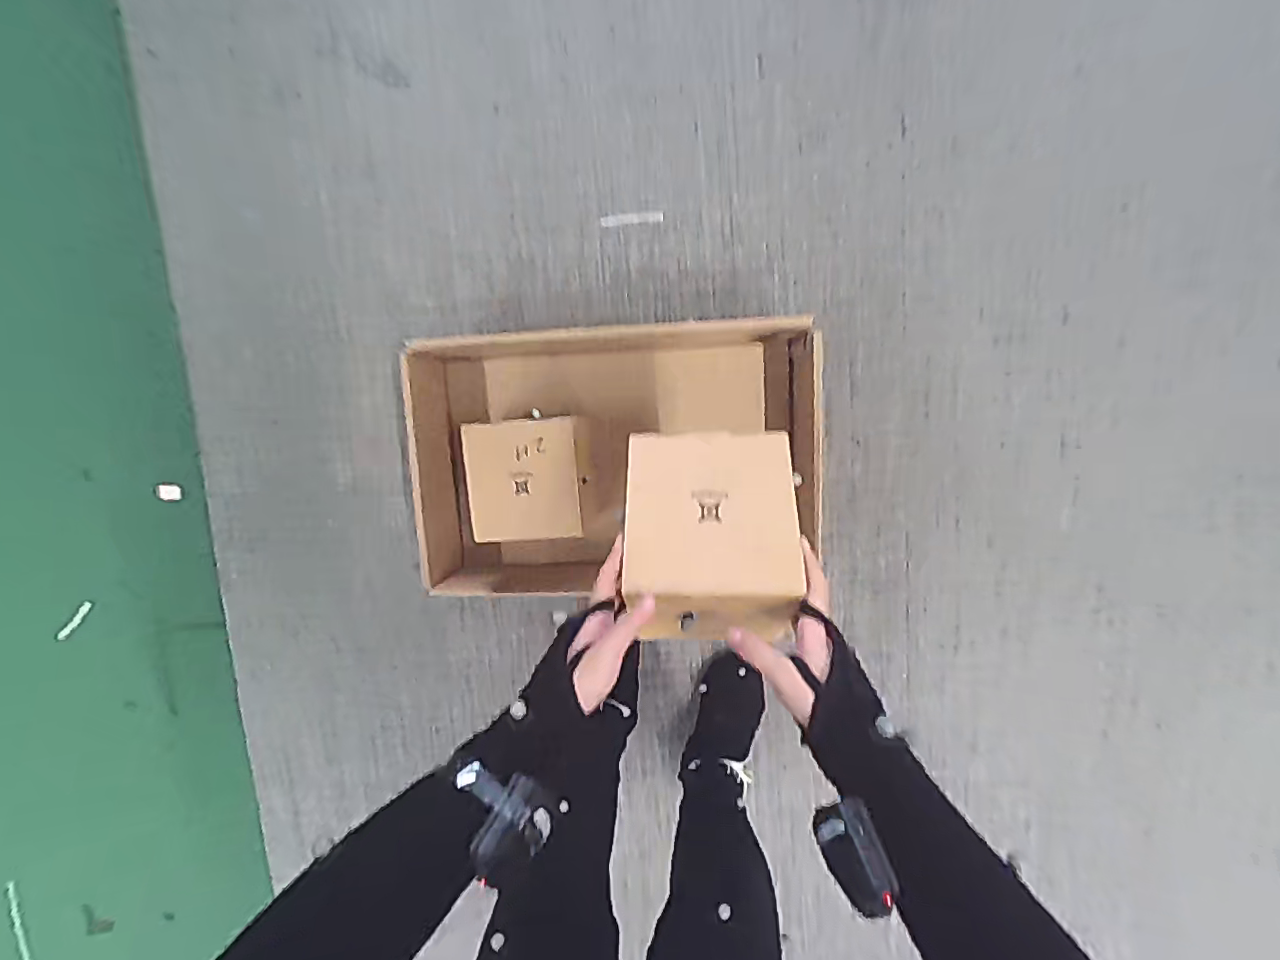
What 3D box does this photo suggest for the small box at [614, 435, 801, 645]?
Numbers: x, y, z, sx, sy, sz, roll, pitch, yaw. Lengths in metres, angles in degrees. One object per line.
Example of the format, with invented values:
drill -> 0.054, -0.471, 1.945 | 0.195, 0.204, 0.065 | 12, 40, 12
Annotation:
small box -> 0.068, 0.071, 0.579 | 0.168, 0.176, 0.179 | -1, 58, 4

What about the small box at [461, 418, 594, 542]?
small box -> -0.169, -0.006, 0.866 | 0.168, 0.176, 0.179 | -3, 97, 4
